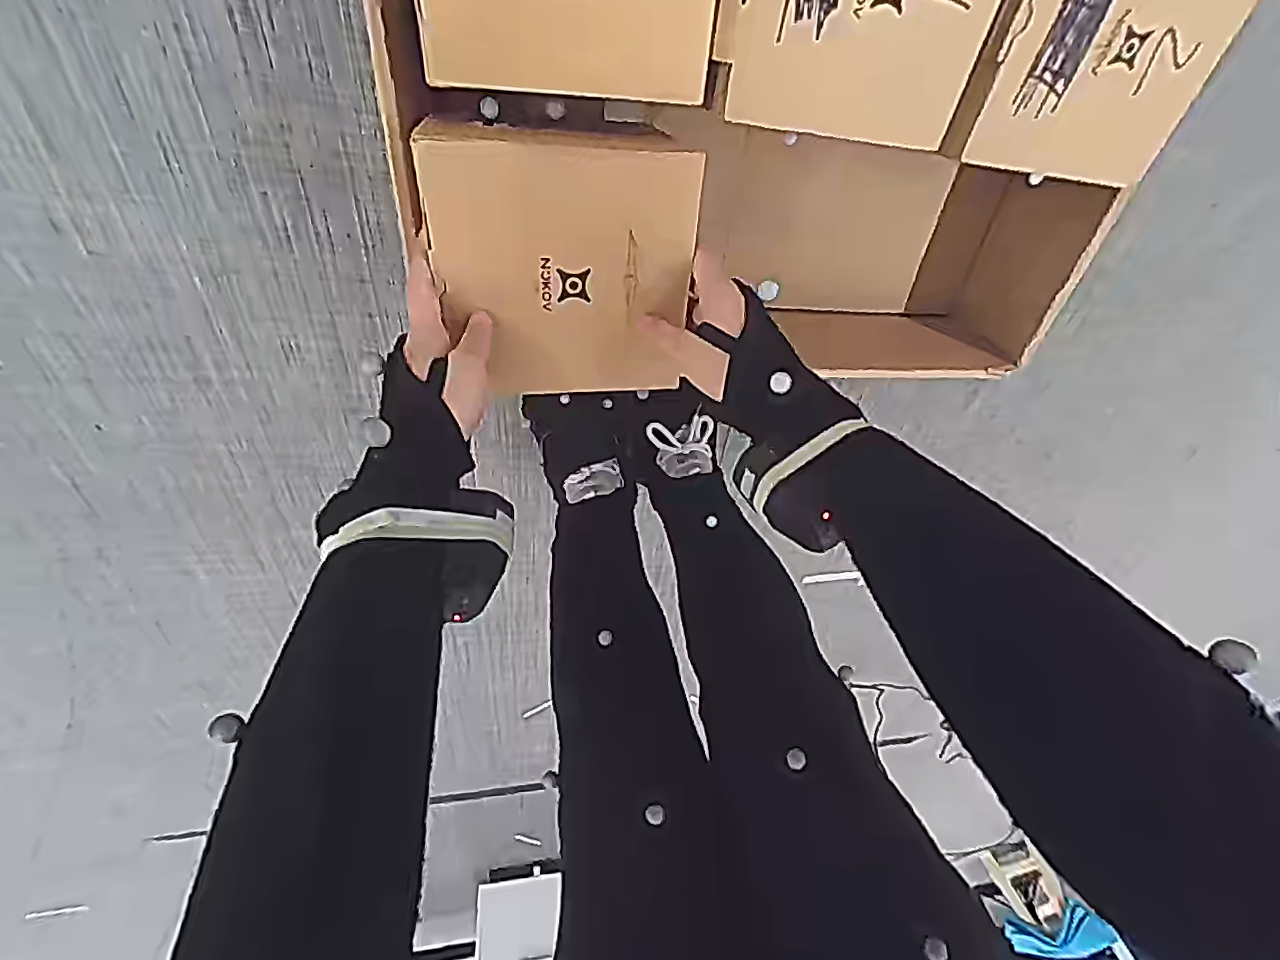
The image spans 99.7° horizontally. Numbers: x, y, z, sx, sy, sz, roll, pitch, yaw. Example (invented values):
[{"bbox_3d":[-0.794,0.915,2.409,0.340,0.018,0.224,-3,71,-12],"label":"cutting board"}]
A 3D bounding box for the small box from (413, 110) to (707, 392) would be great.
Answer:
[{"bbox_3d":[-0.064,-0.184,0.428,0.179,0.176,0.168,-5,130,-12],"label":"small box"}]
